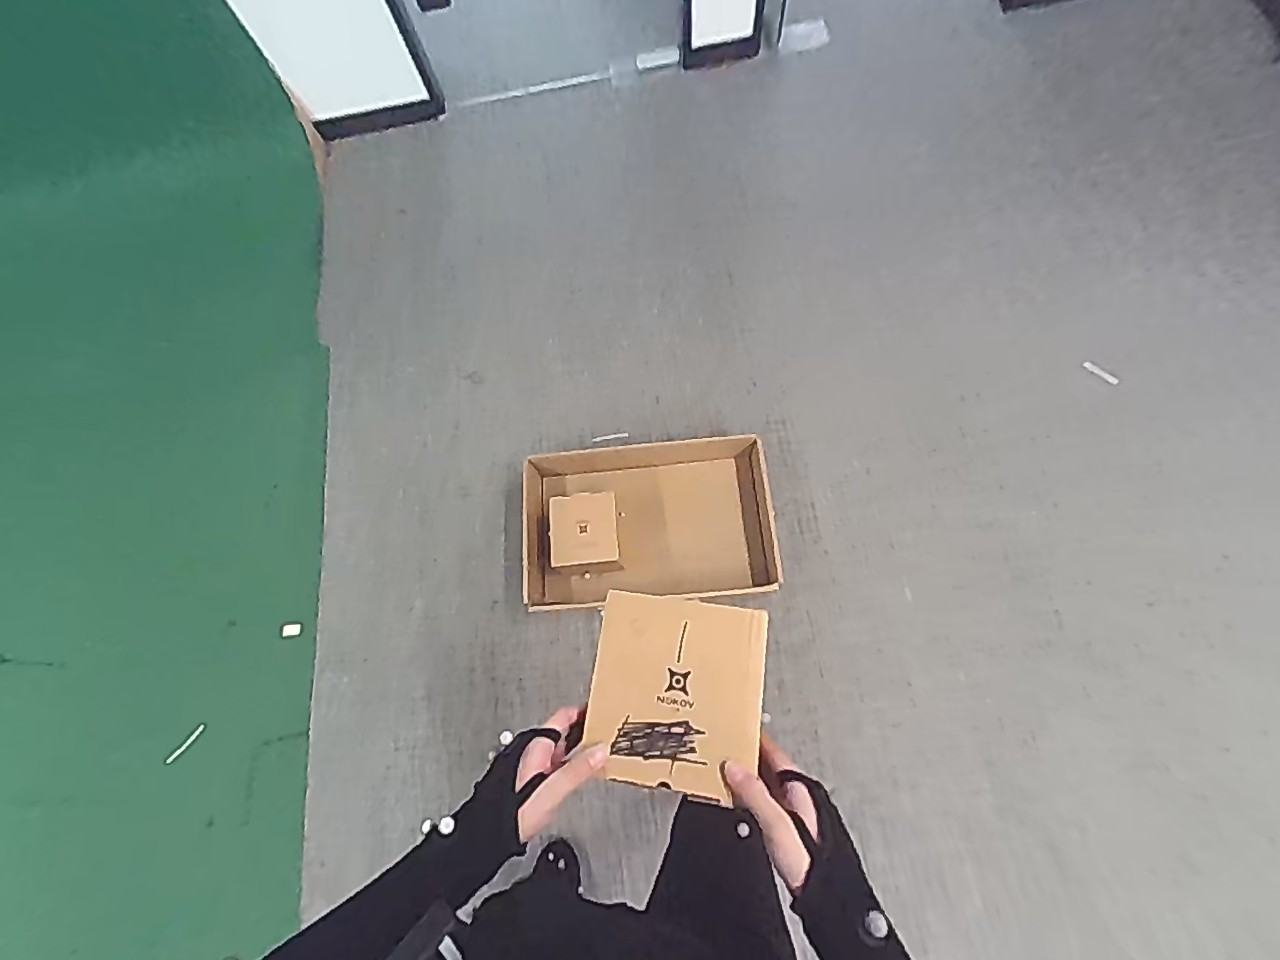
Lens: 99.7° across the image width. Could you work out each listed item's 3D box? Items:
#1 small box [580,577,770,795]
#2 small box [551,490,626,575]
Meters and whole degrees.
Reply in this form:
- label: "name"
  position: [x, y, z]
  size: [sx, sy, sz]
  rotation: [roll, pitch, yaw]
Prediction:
- label: "small box"
  position: [0.045, 0.217, 0.591]
  size: [0.168, 0.176, 0.179]
  rotation: [6, 70, 9]
- label: "small box"
  position: [-0.129, 0.138, 1.376]
  size: [0.168, 0.176, 0.179]
  rotation: [-6, 71, 4]
